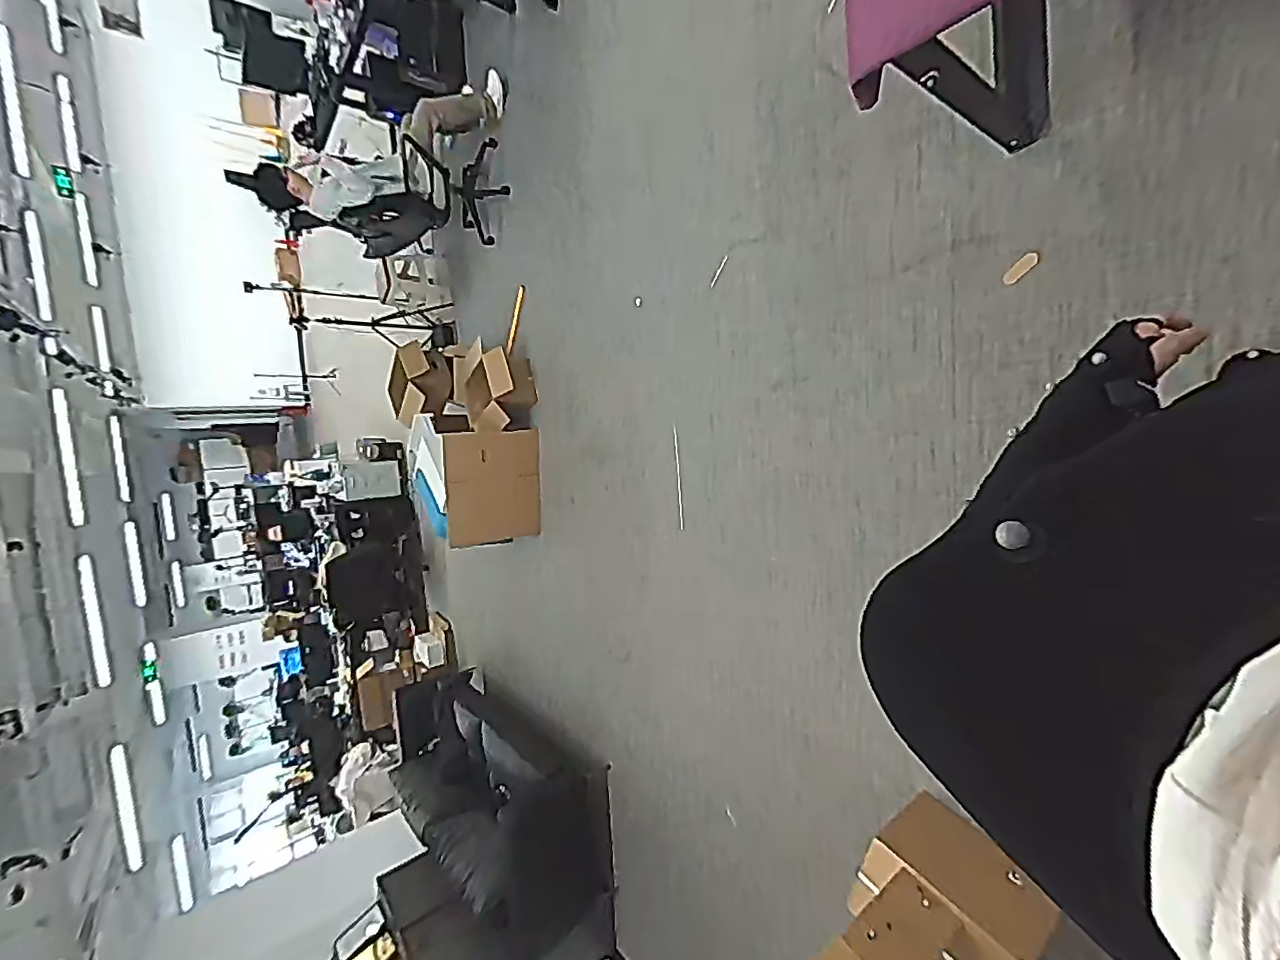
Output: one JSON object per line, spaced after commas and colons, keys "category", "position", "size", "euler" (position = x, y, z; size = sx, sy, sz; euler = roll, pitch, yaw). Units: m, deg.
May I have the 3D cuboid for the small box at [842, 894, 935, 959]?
{"category": "small box", "position": [0.591, 1.179, 1.324], "size": [0.168, 0.176, 0.179], "euler": [30, 119, 46]}

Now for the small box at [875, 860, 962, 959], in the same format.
{"category": "small box", "position": [0.715, 1.167, 1.428], "size": [0.168, 0.176, 0.179], "euler": [32, 119, 45]}

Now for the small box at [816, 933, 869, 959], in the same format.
{"category": "small box", "position": [0.464, 1.195, 1.225], "size": [0.168, 0.176, 0.179], "euler": [29, 118, 46]}
